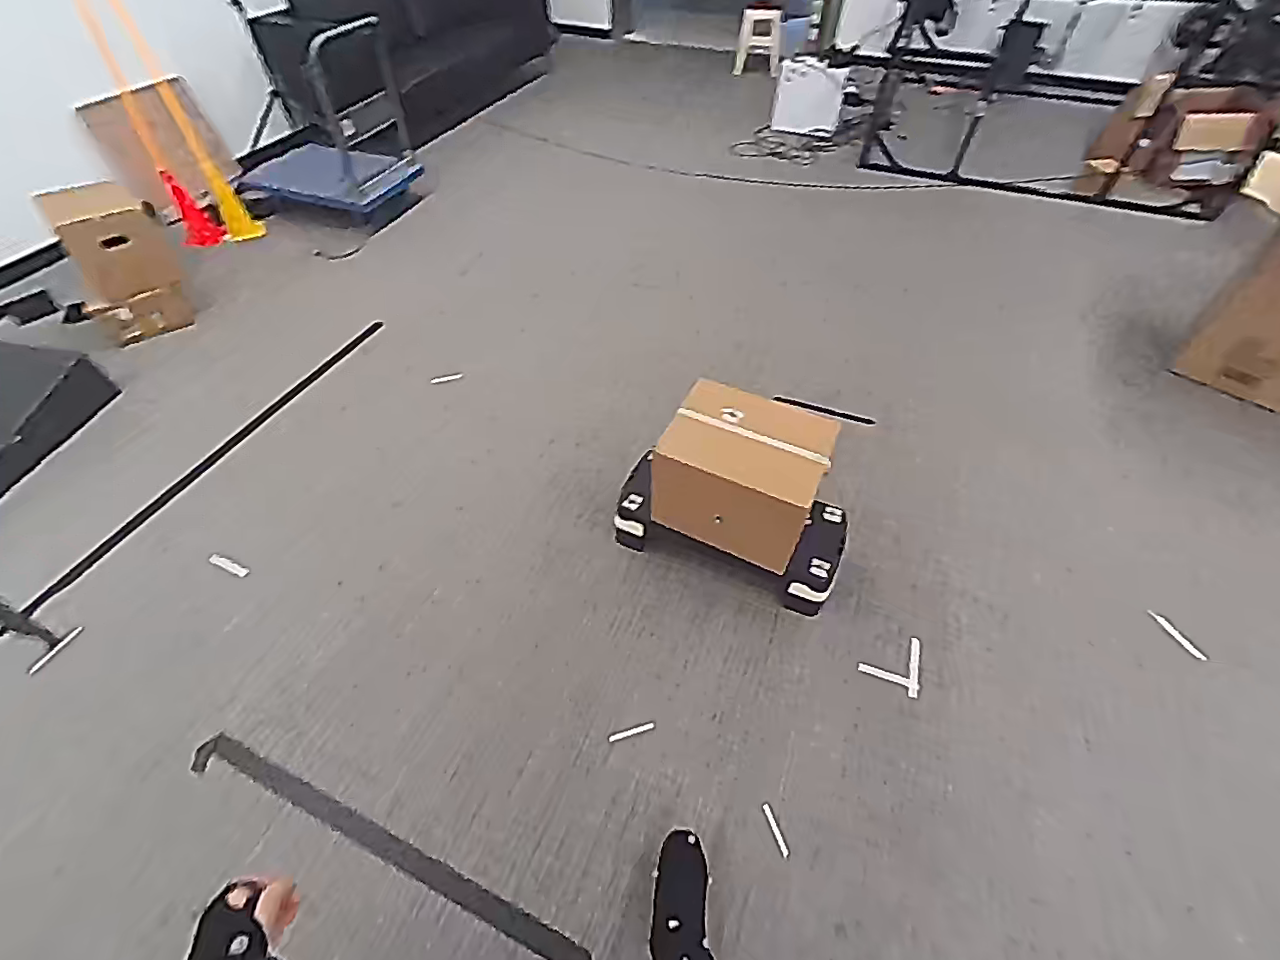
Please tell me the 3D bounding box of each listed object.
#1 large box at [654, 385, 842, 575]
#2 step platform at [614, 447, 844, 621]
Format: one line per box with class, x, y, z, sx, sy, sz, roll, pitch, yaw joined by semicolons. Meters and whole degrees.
large box;0.284;-0.002;1.478;0.408;0.320;0.320;21;53;18
step platform;0.261;0.145;1.667;0.684;0.204;0.286;23;54;19
